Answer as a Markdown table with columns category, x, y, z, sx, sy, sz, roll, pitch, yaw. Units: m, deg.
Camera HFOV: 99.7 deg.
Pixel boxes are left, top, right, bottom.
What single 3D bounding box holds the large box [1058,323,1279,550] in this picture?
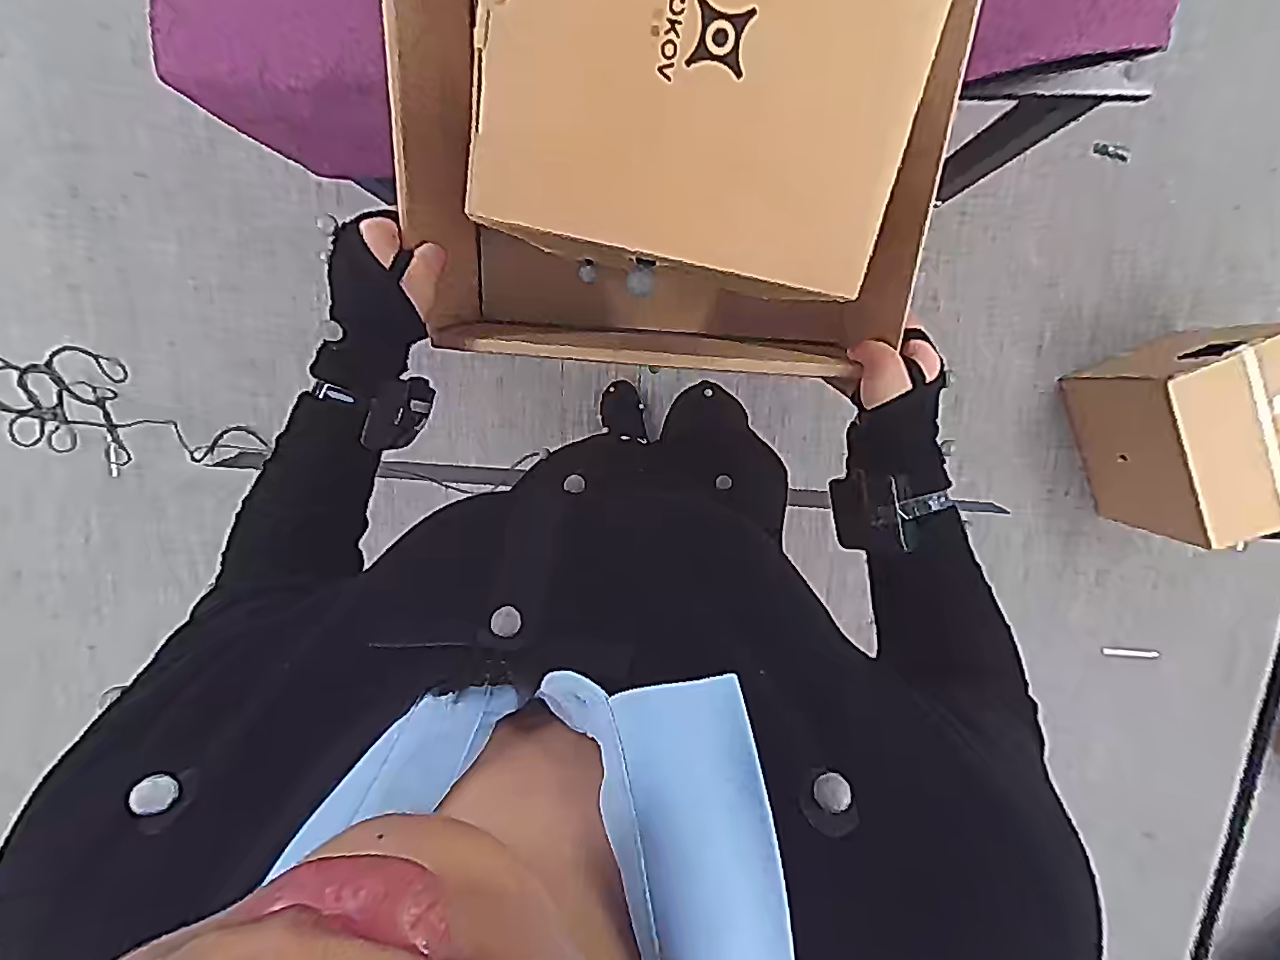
| category | x | y | z | sx | sy | sz | roll | pitch | yaw |
| --- | --- | --- | --- | --- | --- | --- | --- | --- | --- |
| large box | 1.296 | -0.107 | 1.272 | 0.320 | 0.320 | 0.408 | -24 | 98 | 5 |
